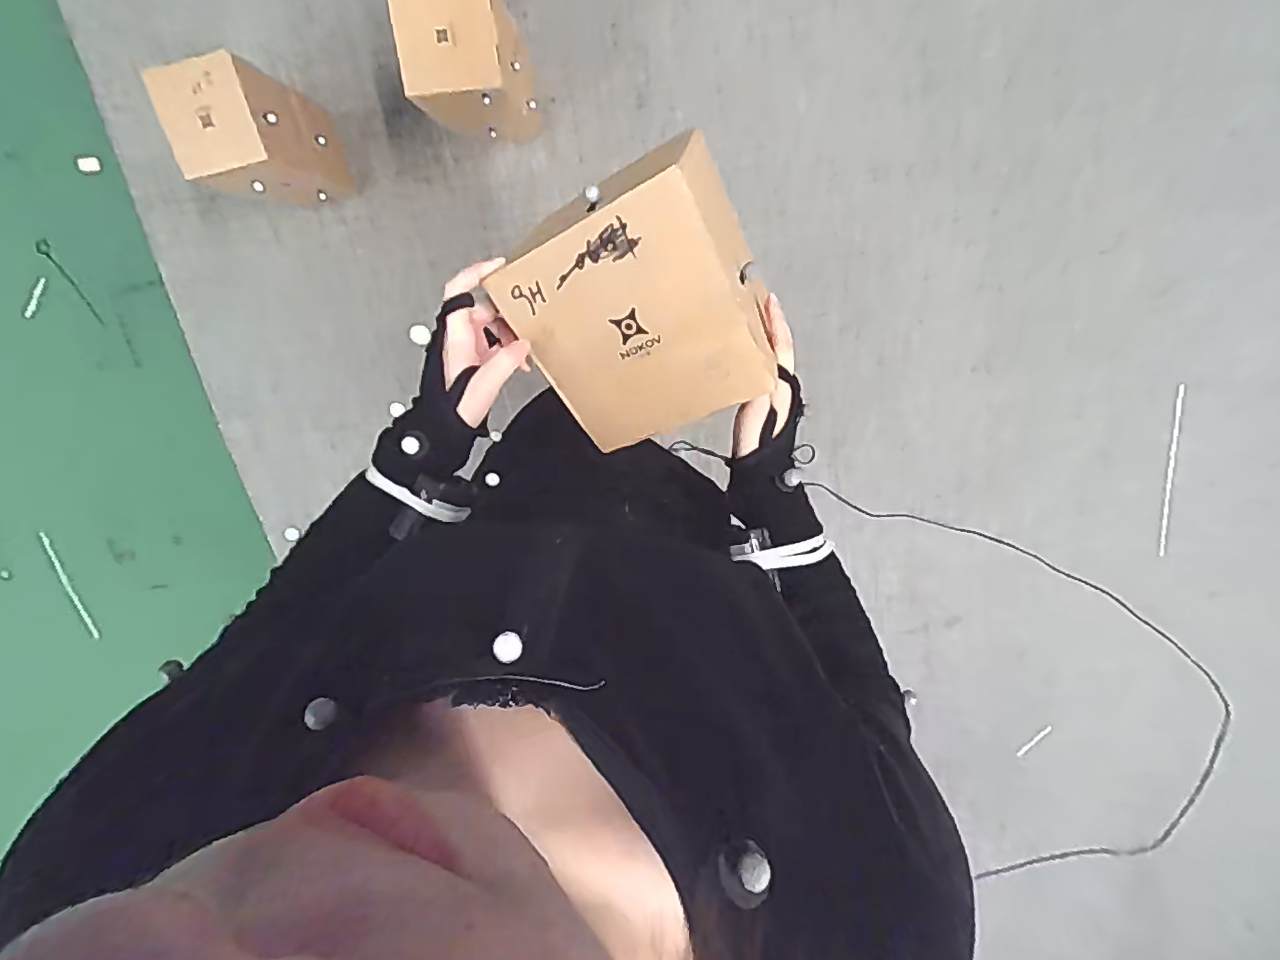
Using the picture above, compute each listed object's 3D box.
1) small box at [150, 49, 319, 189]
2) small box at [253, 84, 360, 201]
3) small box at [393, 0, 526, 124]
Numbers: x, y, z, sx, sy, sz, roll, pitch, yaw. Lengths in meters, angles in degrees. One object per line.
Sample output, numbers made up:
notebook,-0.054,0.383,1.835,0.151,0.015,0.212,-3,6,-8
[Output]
small box,-0.763,-0.679,1.043,0.168,0.176,0.179,-11,107,4
small box,-0.758,-0.733,1.199,0.168,0.176,0.179,-9,107,4
small box,-0.324,-0.782,0.999,0.179,0.176,0.168,-4,107,3
